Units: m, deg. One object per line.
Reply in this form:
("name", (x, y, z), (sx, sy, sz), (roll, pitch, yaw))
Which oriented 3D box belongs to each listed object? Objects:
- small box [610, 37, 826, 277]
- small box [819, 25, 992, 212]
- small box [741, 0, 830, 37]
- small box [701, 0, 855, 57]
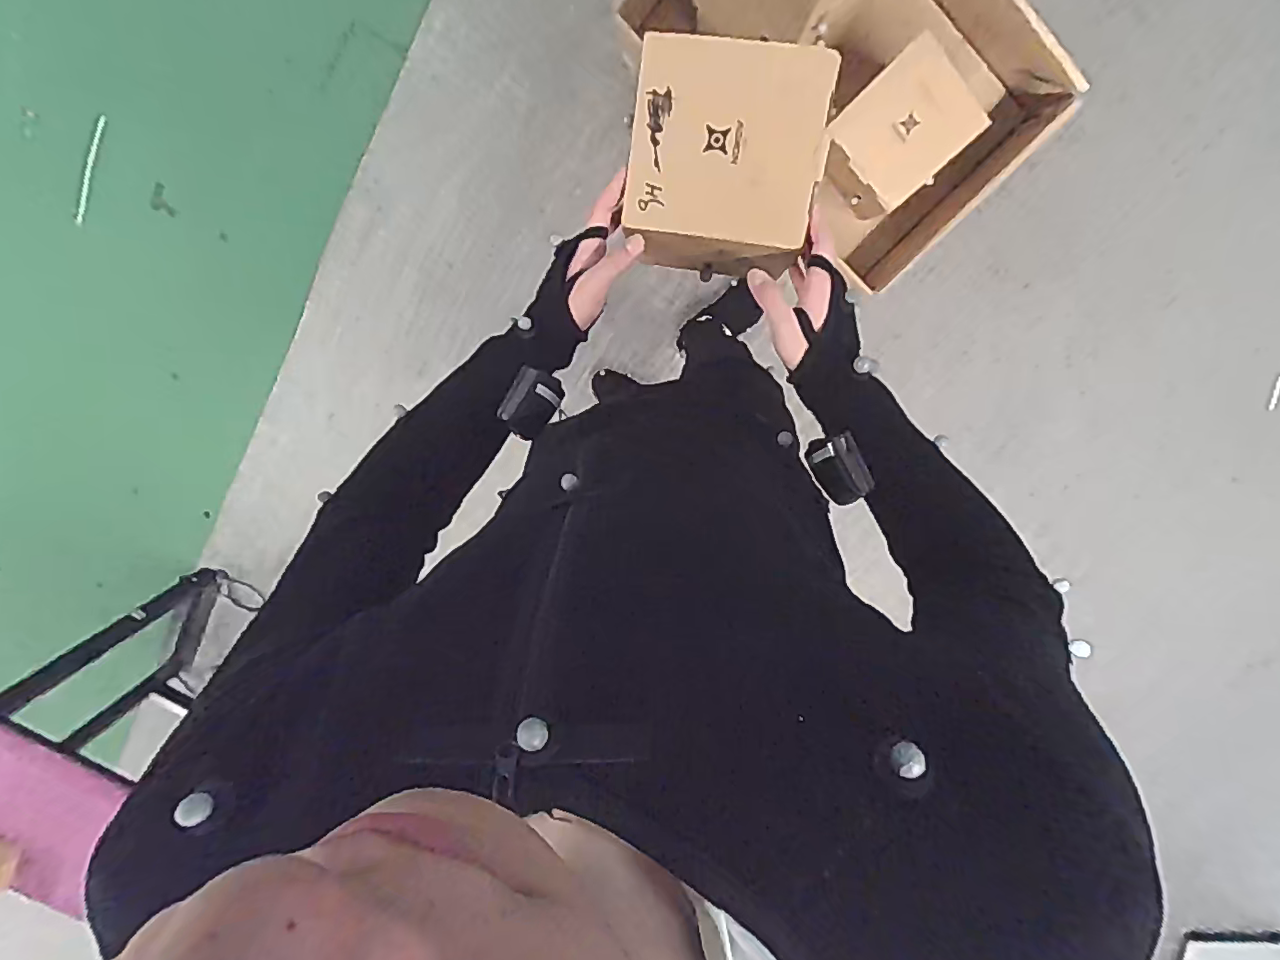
("small box", (0.075, -0.321, 0.574), (0.179, 0.176, 0.168), (9, 102, 4))
("small box", (0.411, -0.561, 0.876), (0.179, 0.176, 0.168), (-40, 103, 20))
("small box", (0.163, -0.596, 0.540), (0.179, 0.176, 0.168), (41, 111, -10))
("small box", (0.186, -0.660, 0.690), (0.179, 0.176, 0.168), (42, 111, -11))
